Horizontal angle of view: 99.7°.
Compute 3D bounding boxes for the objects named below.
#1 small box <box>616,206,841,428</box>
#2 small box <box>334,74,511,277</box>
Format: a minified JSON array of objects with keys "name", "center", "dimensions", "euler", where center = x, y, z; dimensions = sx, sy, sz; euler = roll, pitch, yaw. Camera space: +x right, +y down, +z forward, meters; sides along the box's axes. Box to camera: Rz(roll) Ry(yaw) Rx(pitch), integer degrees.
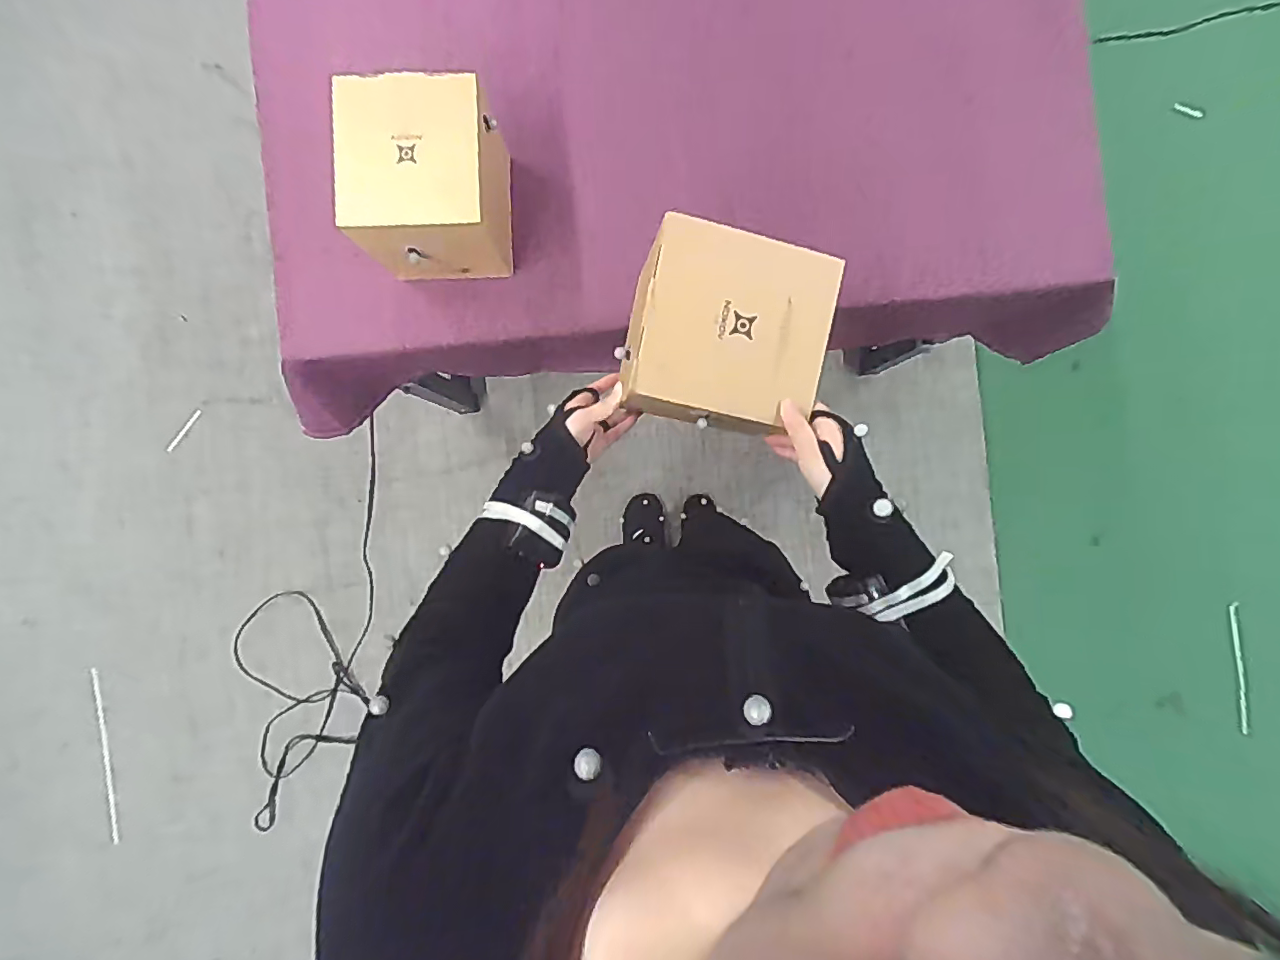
[{"name":"small box","center":[0.077,-0.152,0.571],"dimensions":[0.179,0.176,0.168],"euler":[12,92,-8]},{"name":"small box","center":[-0.266,-0.373,0.695],"dimensions":[0.168,0.176,0.179],"euler":[-2,88,0]}]
